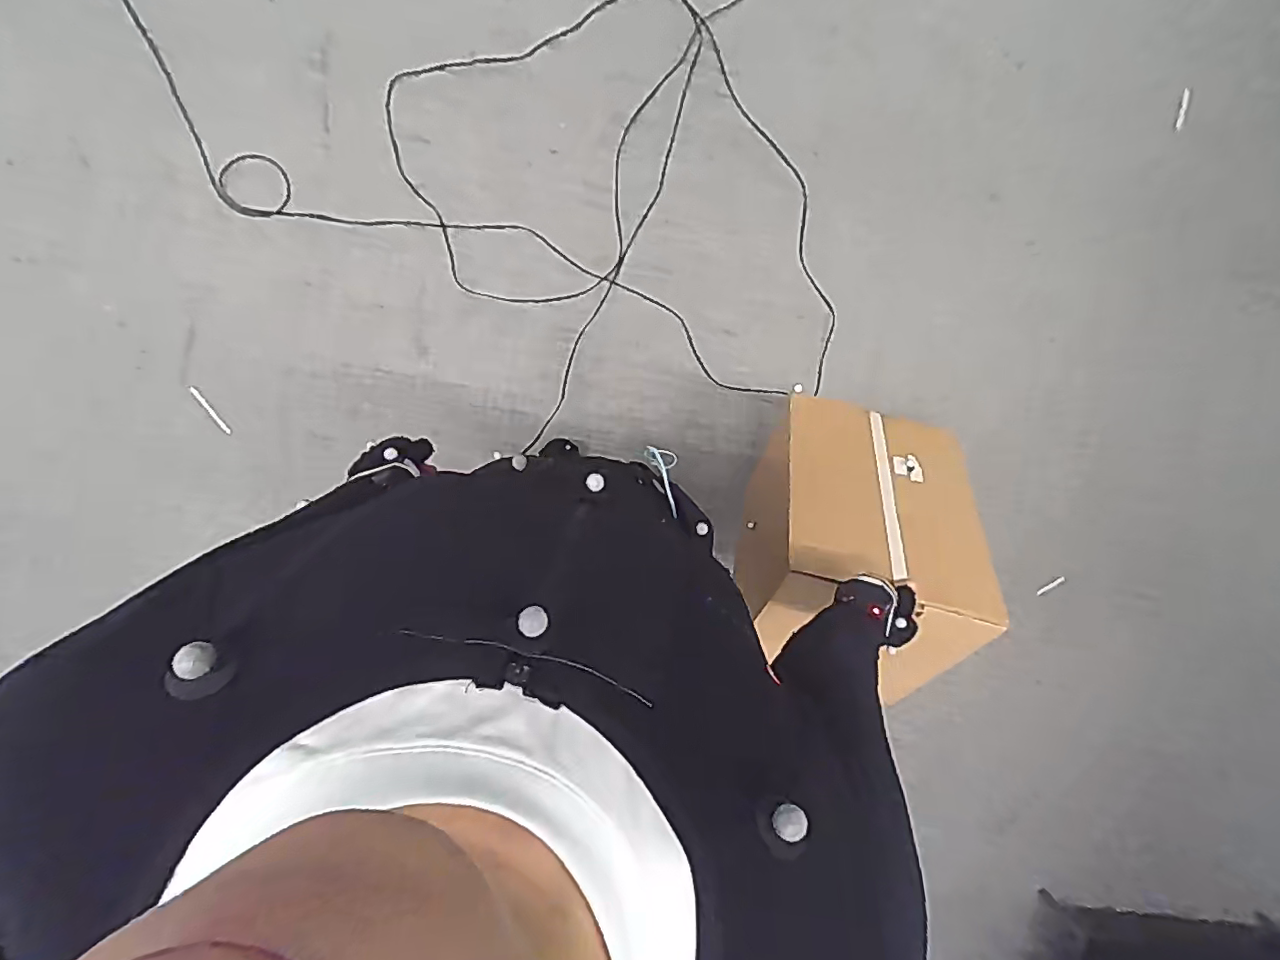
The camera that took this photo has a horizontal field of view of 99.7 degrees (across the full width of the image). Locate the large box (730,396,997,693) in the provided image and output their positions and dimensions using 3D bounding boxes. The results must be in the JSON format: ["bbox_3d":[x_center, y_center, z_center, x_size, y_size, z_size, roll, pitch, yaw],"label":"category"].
[{"bbox_3d":[0.363,0.116,0.997,0.320,0.408,0.320,15,137,0],"label":"large box"}]
